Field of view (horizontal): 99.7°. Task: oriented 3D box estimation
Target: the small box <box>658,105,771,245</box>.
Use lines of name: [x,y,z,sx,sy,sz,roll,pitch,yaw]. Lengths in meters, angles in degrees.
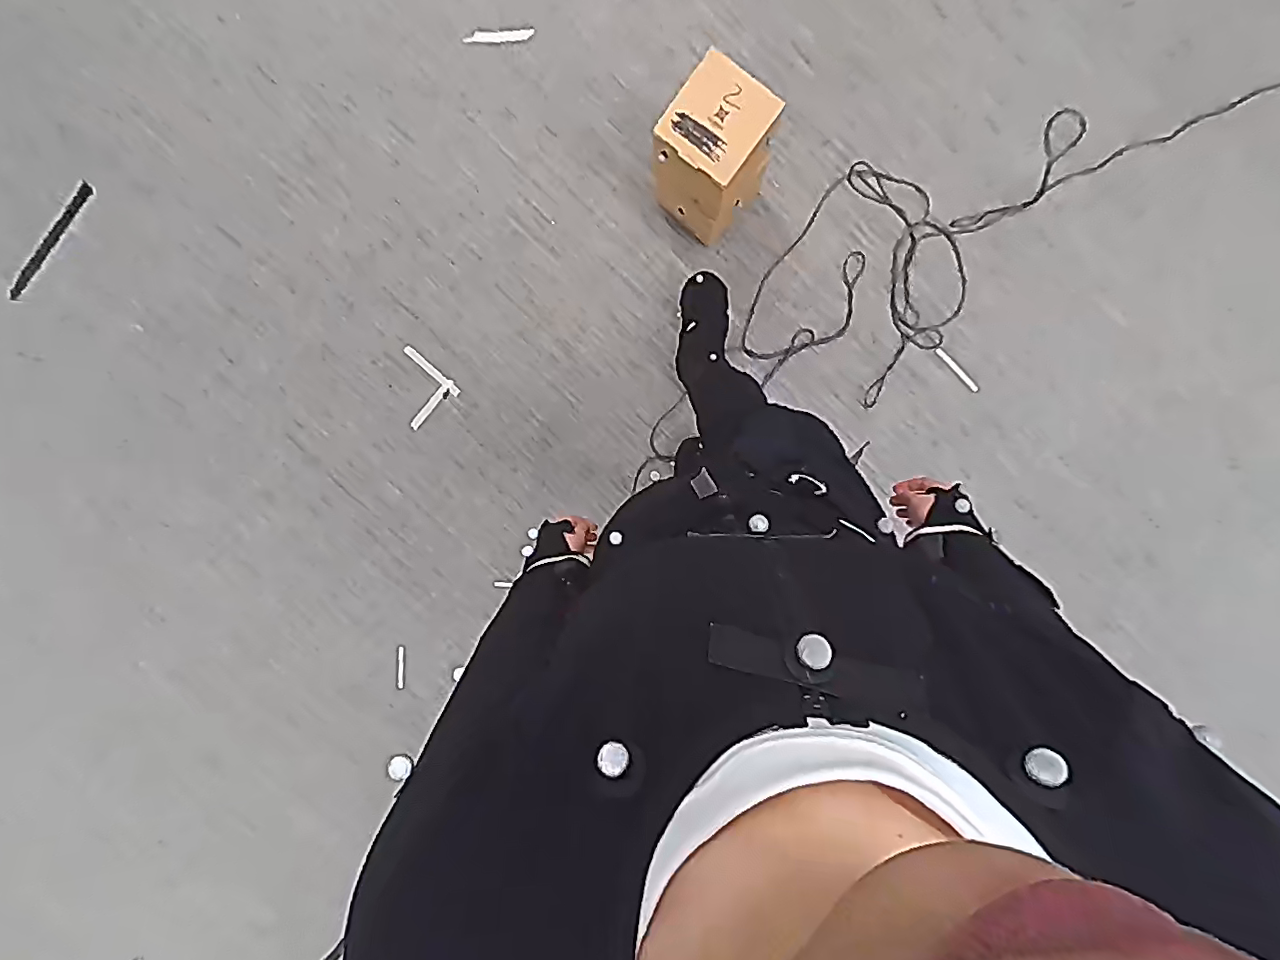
small box: [0.160,-0.657,1.193,0.168,0.176,0.179,43,97,-2]
